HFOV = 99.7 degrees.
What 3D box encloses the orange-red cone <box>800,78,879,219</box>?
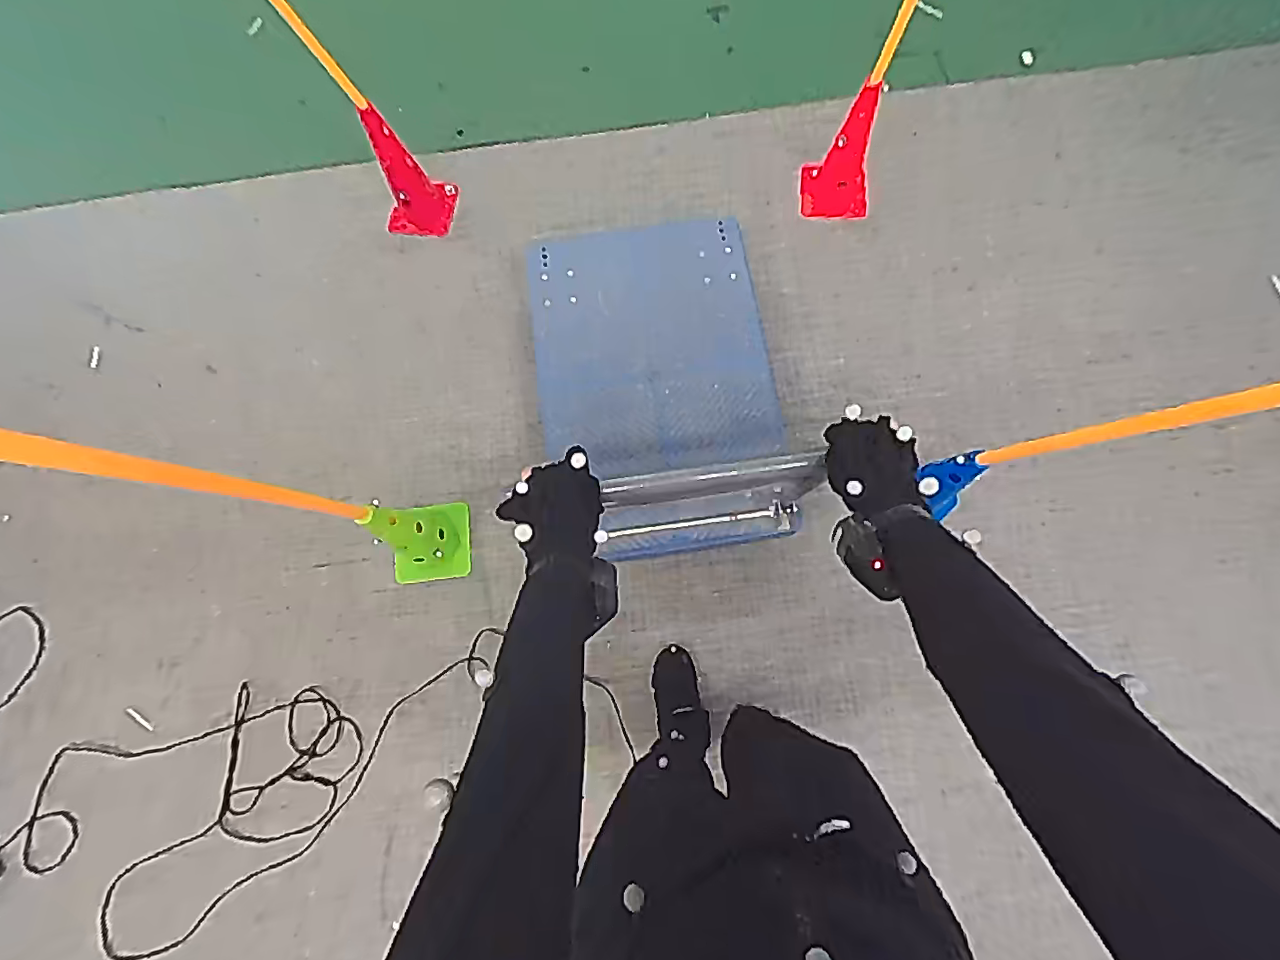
[{"bbox_3d":[0.585,-0.930,1.500,0.198,0.360,0.199,4,76,5],"label":"orange-red cone"}]
